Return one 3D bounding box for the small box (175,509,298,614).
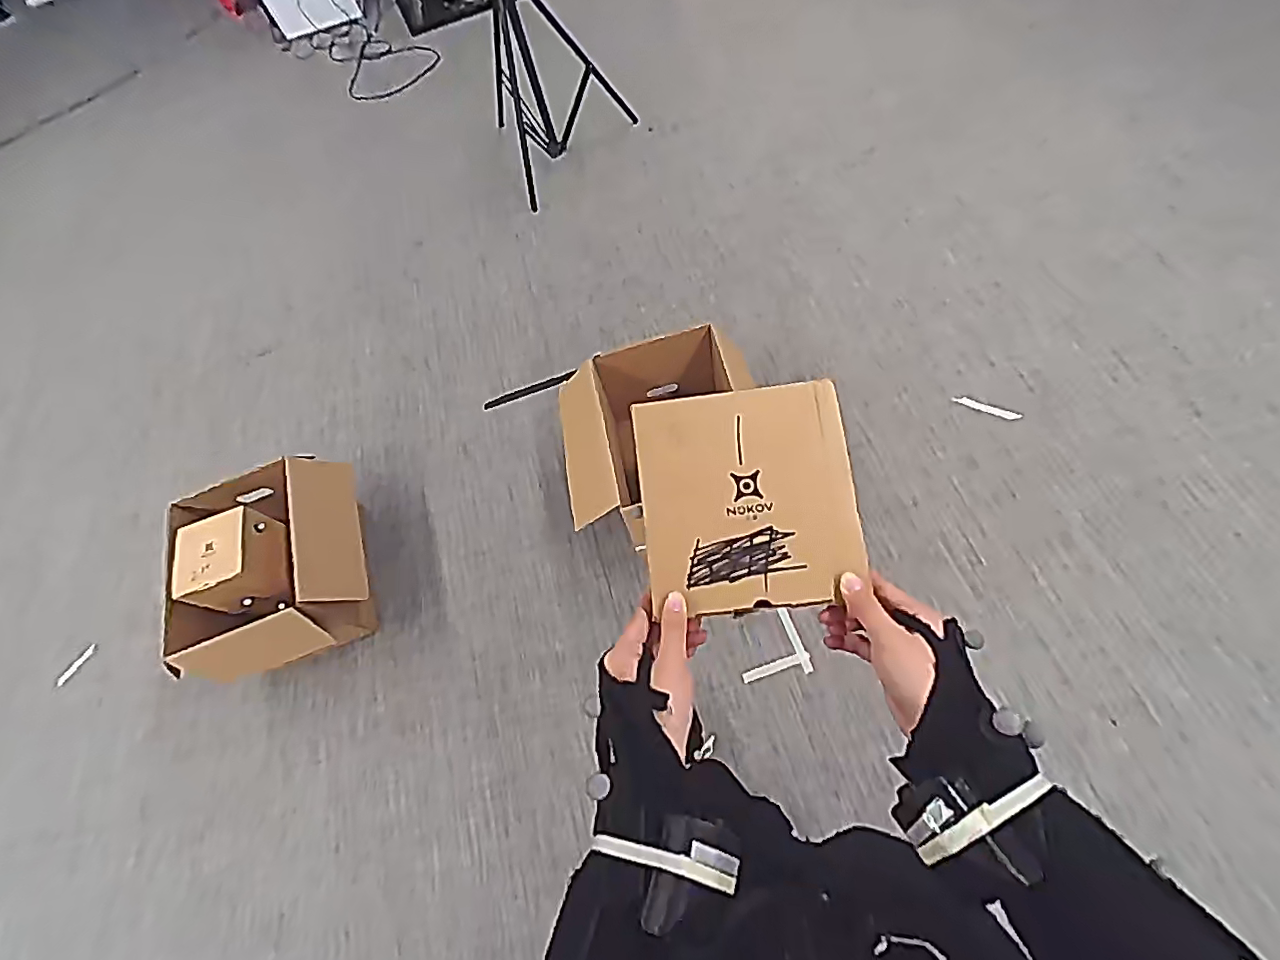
[{"bbox_3d":[-0.945,0.198,1.282,0.168,0.176,0.179,-20,63,1],"label":"small box"}]

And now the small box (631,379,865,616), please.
[{"bbox_3d":[0.088,0.026,0.502,0.168,0.176,0.179,-7,77,4],"label":"small box"}]
